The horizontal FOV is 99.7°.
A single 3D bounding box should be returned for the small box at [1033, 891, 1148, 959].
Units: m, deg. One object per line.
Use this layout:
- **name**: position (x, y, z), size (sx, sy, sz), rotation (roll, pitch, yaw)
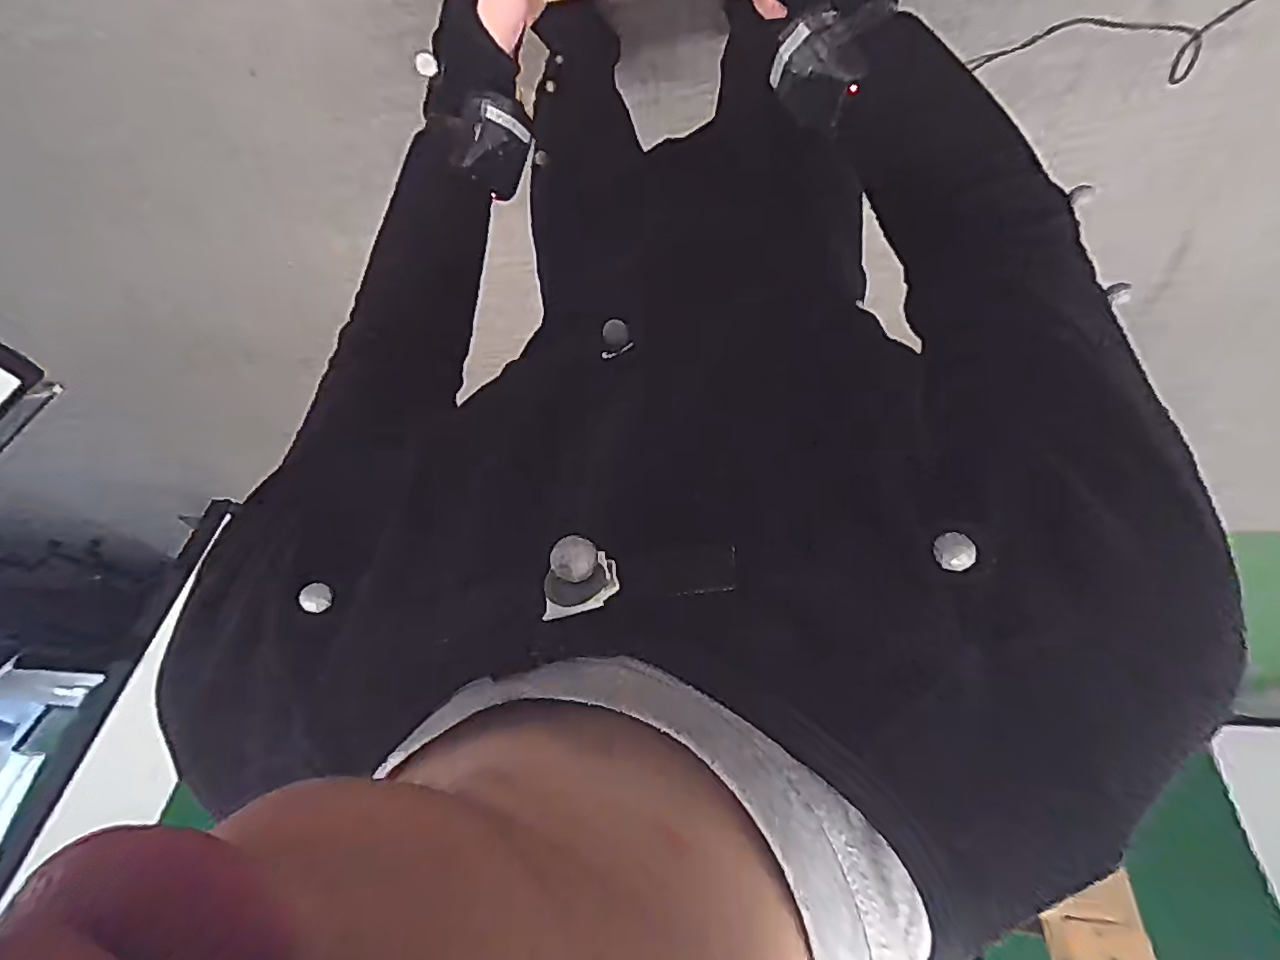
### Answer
- **small box**: position (1.108, 1.129, 1.334), size (0.168, 0.176, 0.179), rotation (-5, 146, 15)
